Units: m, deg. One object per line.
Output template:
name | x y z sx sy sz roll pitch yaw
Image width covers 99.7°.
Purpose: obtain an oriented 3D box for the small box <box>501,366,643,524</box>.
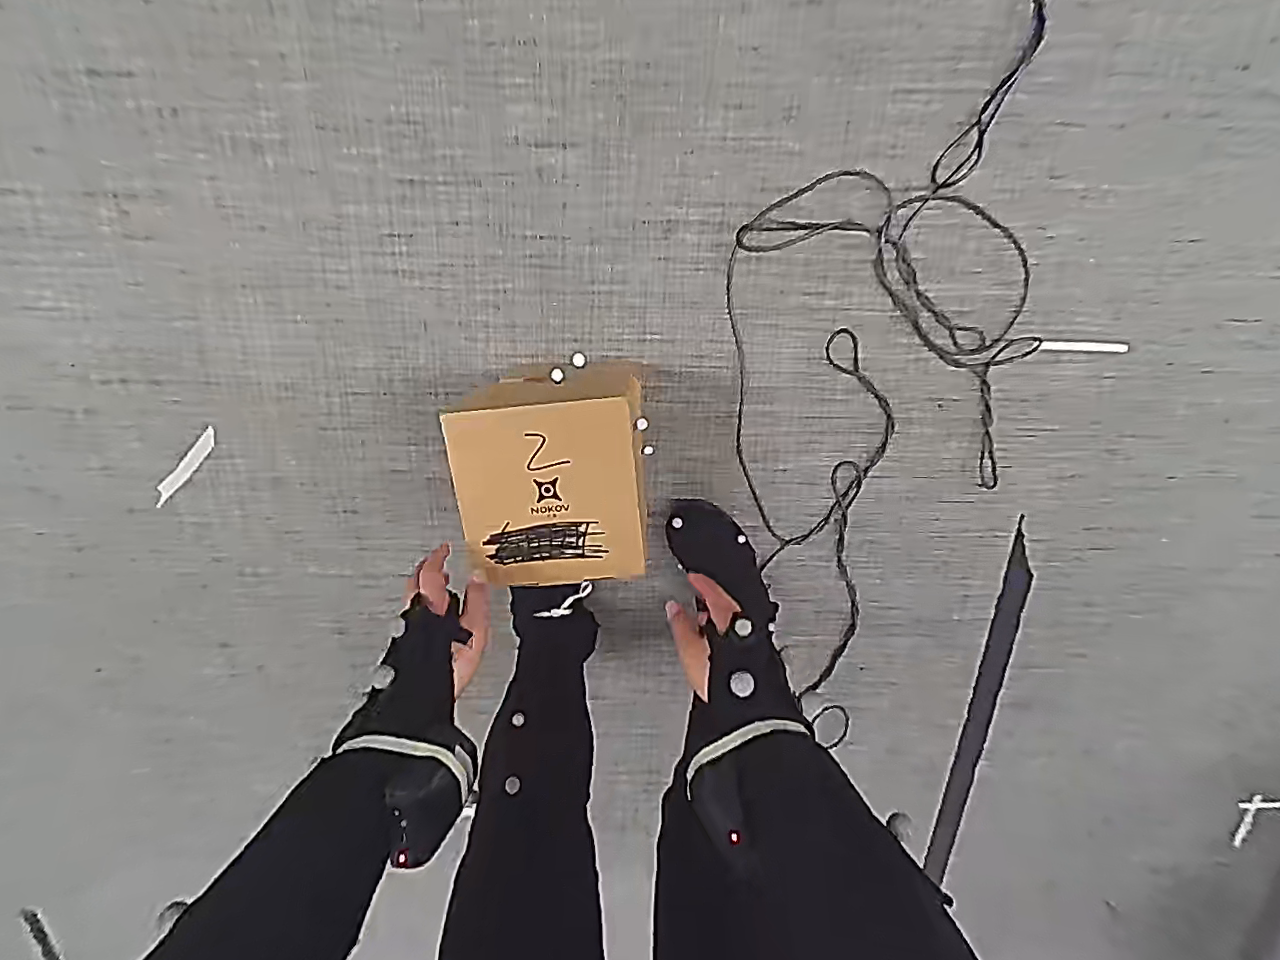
small box | -0.079 -0.054 0.724 0.168 0.176 0.179 -1 108 -1
